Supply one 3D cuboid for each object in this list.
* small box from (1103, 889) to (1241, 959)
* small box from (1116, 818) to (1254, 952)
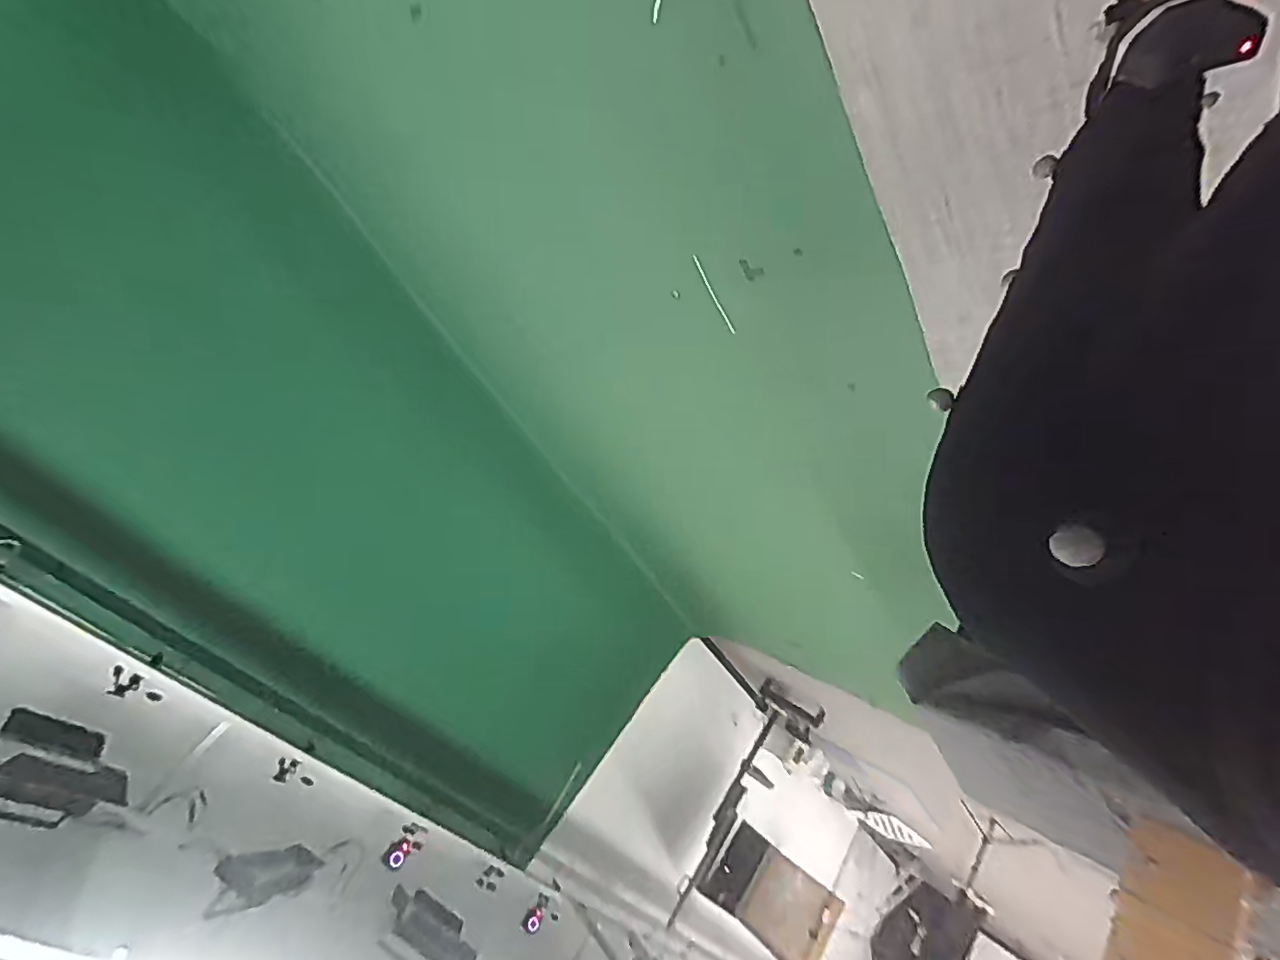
[{"bbox_3d":[1.060,0.975,1.081,0.179,0.176,0.168,12,146,52],"label":"small box"},{"bbox_3d":[1.151,0.855,1.144,0.179,0.176,0.168,8,143,53],"label":"small box"}]
